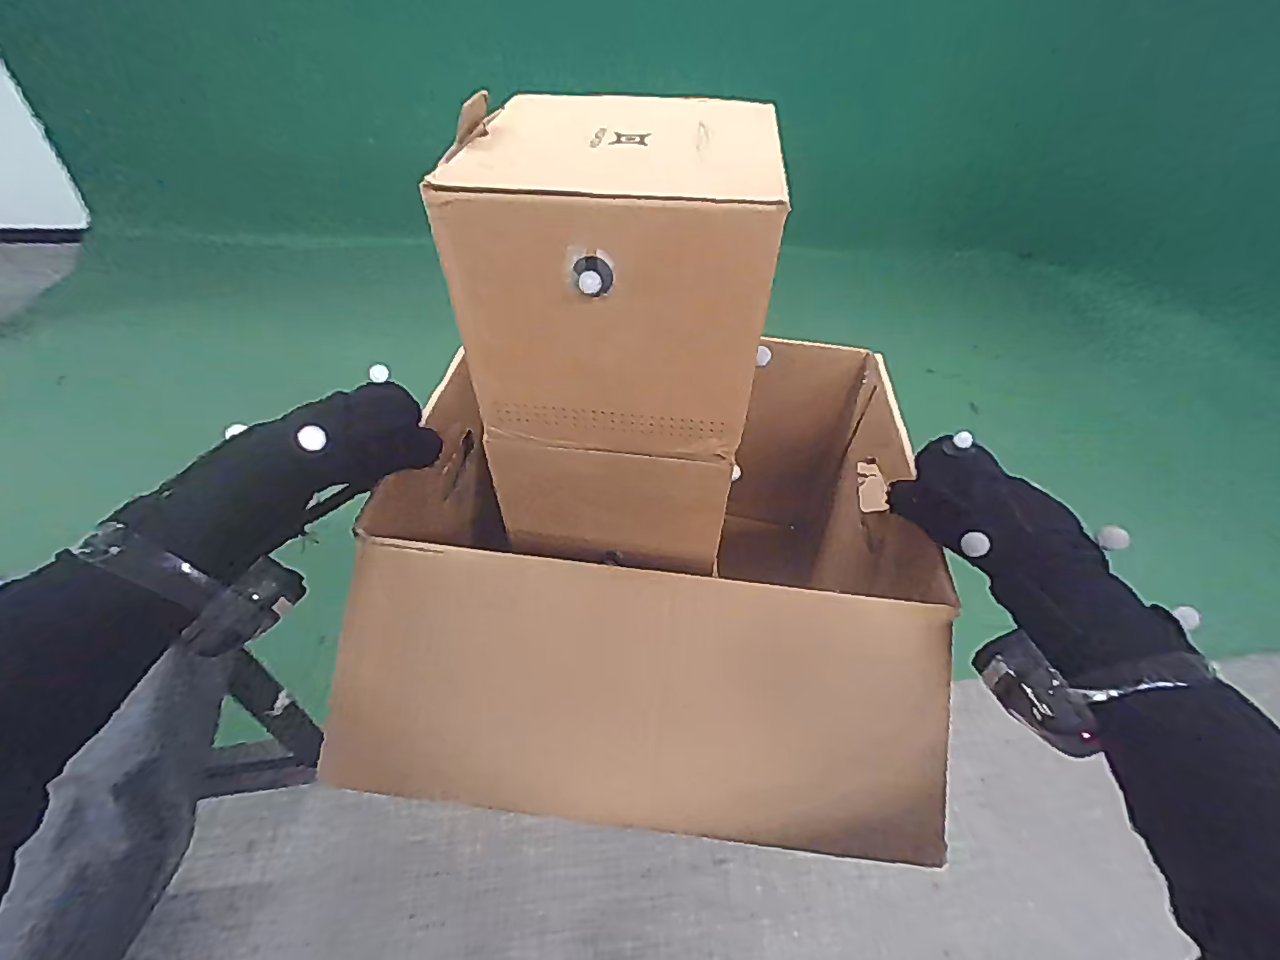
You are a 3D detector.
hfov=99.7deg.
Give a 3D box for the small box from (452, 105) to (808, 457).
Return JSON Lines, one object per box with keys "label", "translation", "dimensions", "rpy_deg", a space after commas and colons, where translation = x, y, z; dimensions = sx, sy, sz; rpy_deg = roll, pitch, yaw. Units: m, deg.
{"label": "small box", "translation": [0.001, -0.132, 0.369], "dimensions": [0.179, 0.176, 0.168], "rpy_deg": [6, 49, 3]}
